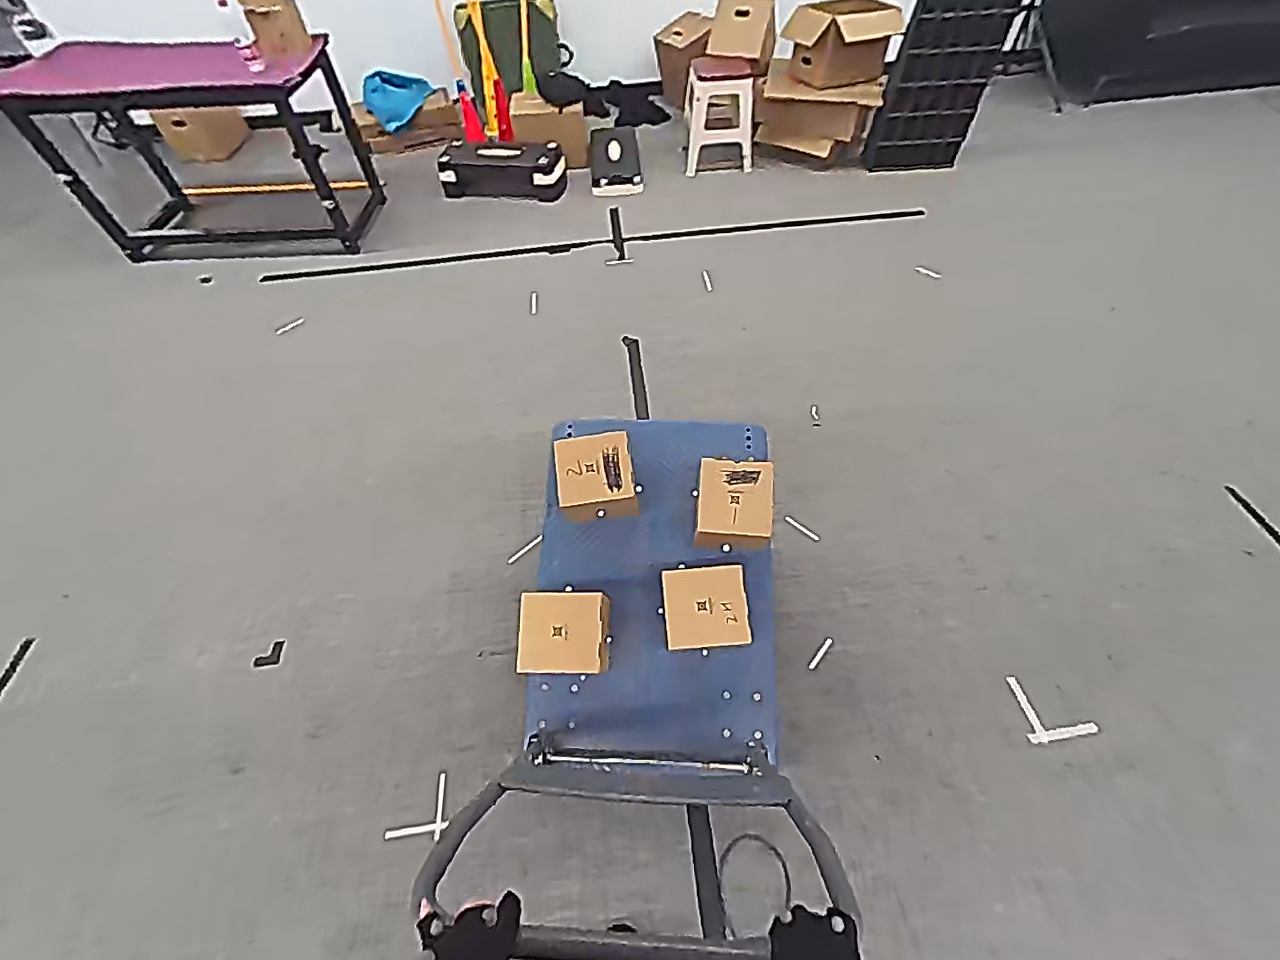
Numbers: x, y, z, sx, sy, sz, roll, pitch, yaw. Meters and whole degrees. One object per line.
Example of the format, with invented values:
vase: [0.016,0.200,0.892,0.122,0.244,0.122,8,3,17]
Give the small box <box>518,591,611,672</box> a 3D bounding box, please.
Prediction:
small box: [-0.163,0.344,1.217,0.179,0.176,0.168,-1,72,2]

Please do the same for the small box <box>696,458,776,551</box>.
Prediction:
small box: [0.223,0.062,1.284,0.168,0.176,0.179,4,73,5]

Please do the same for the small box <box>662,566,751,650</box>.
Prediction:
small box: [0.145,0.292,1.214,0.179,0.176,0.168,-5,72,2]
